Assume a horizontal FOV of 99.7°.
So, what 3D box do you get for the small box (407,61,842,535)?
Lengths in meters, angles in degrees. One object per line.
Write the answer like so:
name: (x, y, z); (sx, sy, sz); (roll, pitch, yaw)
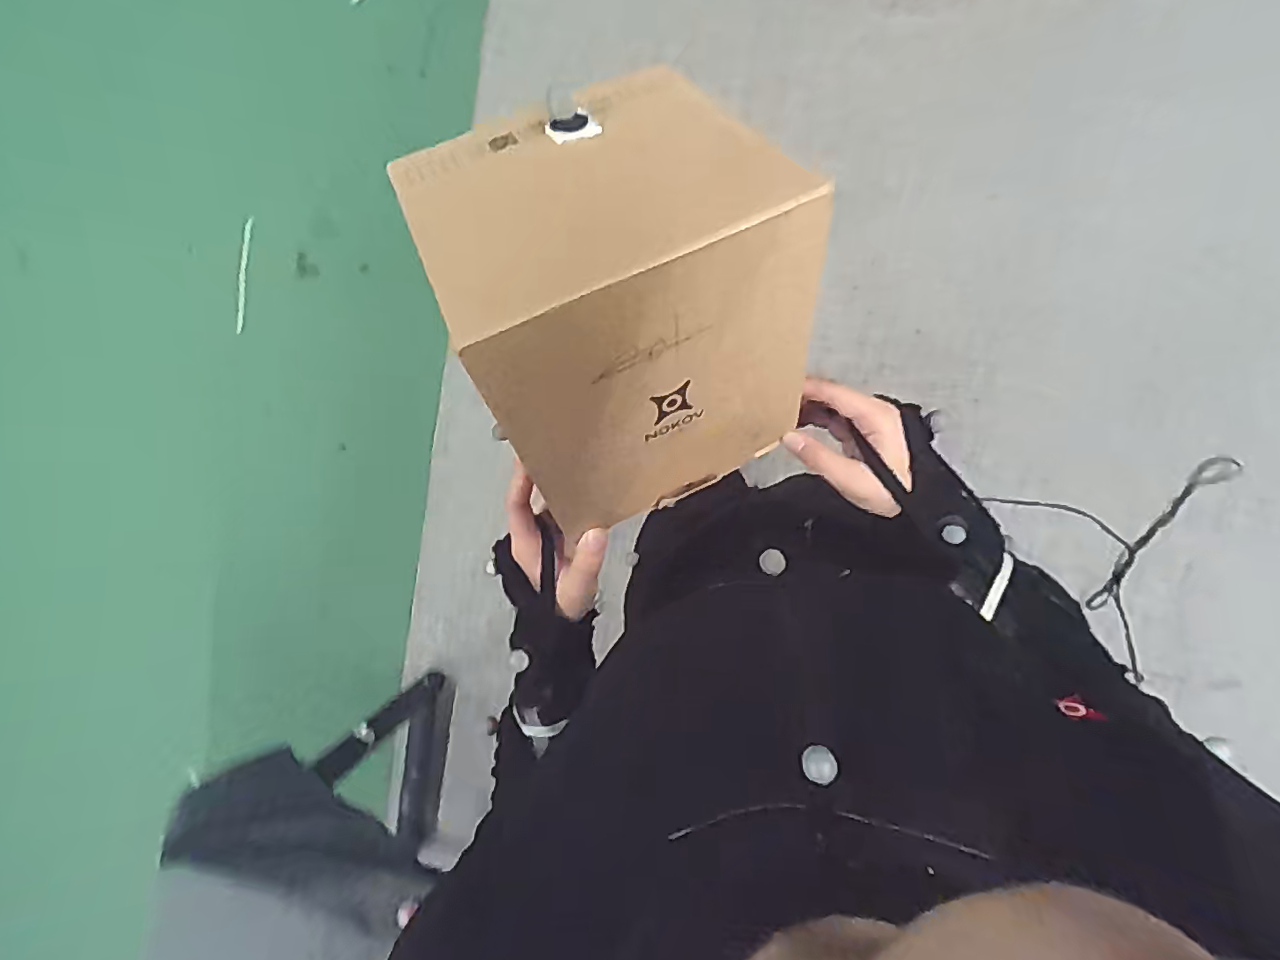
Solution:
small box: (-0.012, -0.102, 0.323); (0.168, 0.179, 0.176); (-25, 56, -7)
